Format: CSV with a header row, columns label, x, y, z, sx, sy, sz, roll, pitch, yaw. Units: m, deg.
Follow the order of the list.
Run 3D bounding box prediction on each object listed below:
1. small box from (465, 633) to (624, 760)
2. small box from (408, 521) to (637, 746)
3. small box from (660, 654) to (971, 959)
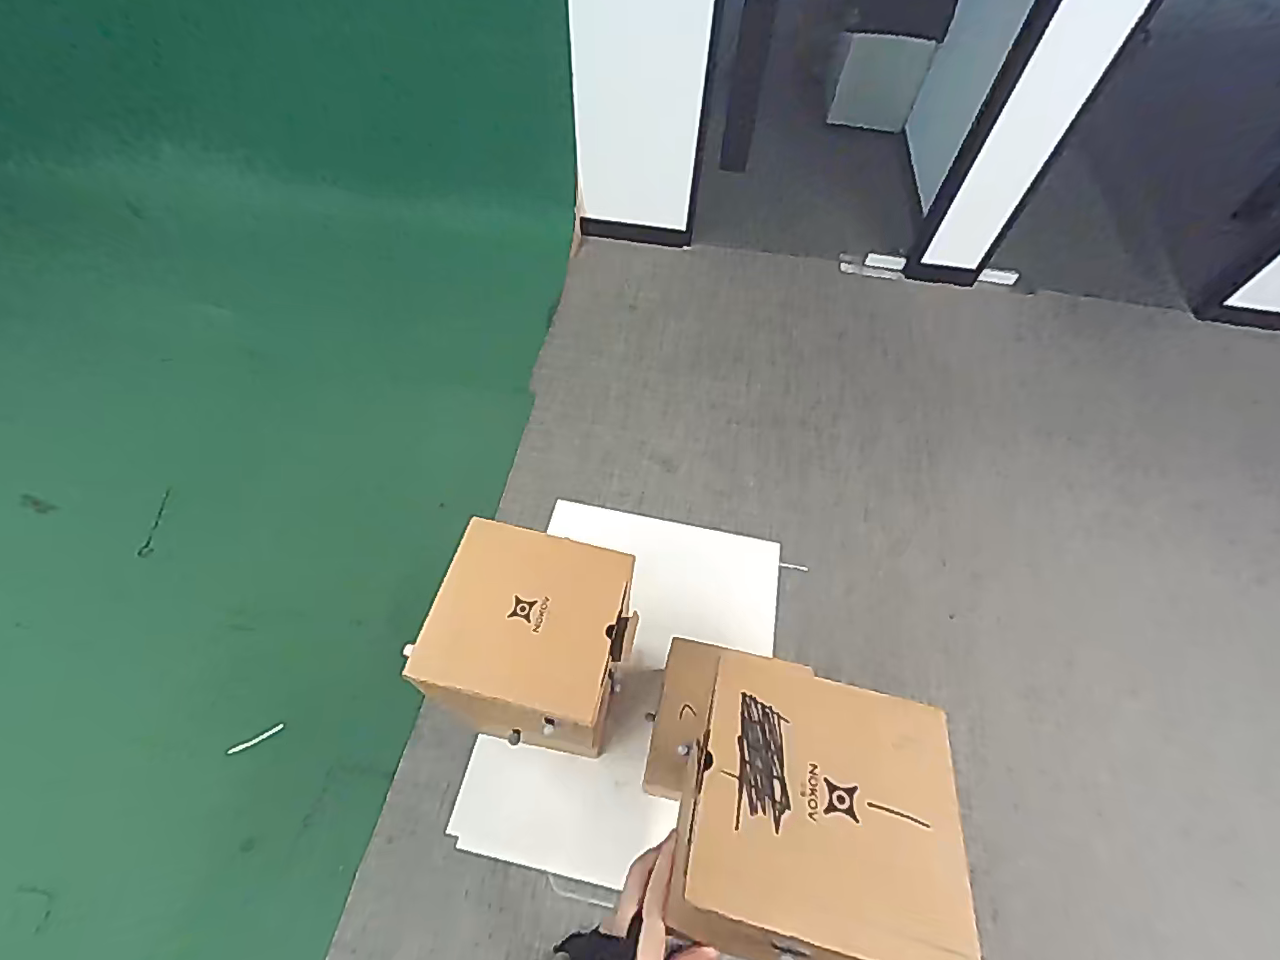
label,x,y,z,sx,sy,sz,roll,pitch,yaw
small box,-0.123,0.259,0.718,0.179,0.176,0.168,11,56,3
small box,-0.112,0.171,0.581,0.179,0.176,0.168,14,56,2
small box,0.120,0.271,0.428,0.179,0.176,0.168,13,45,7
